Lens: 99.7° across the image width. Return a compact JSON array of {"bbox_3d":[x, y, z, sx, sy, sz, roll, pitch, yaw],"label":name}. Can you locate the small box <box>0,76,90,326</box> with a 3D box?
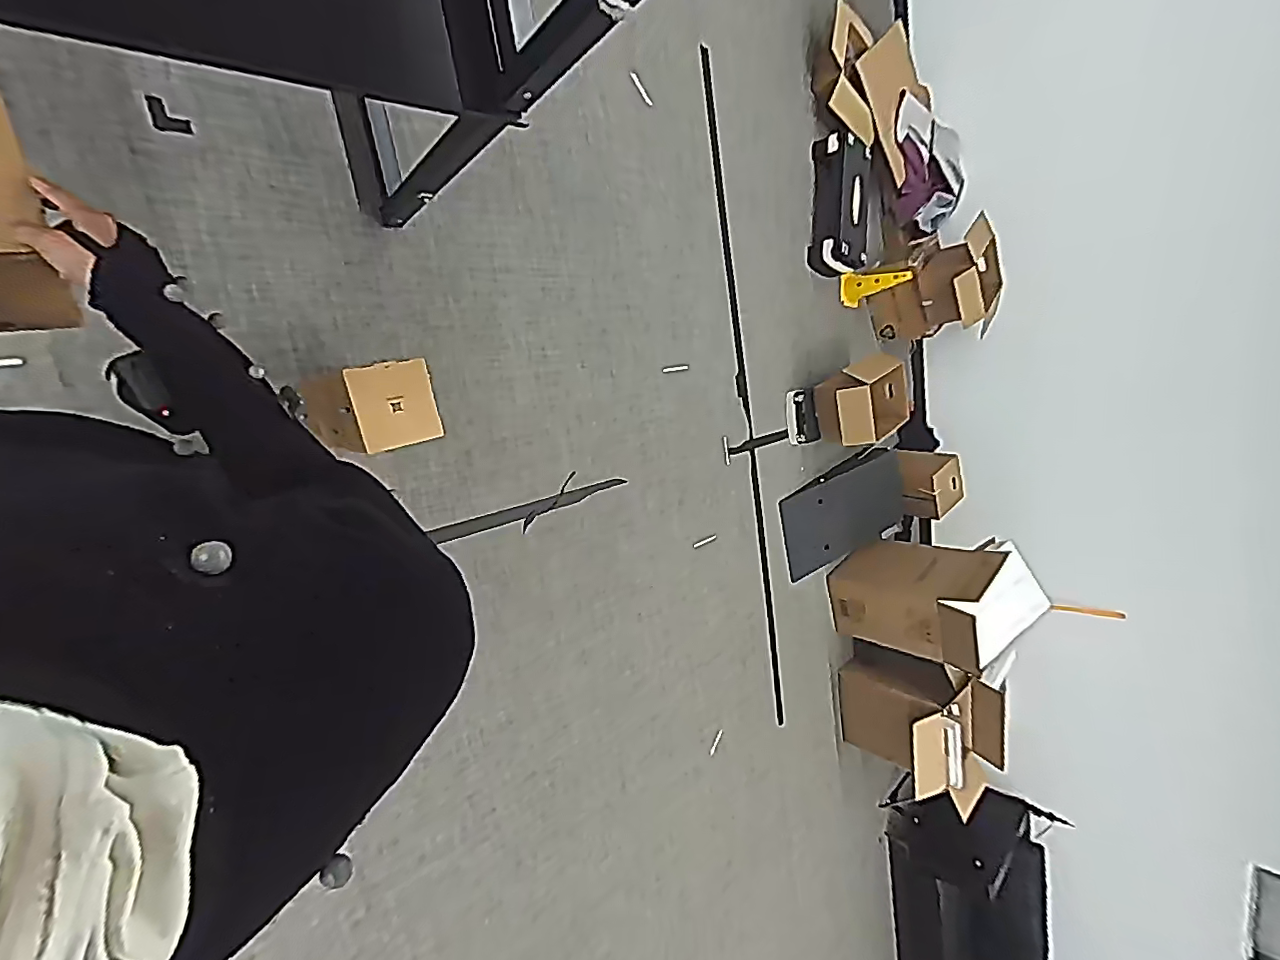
[{"bbox_3d":[-0.653,-0.249,0.497,0.168,0.176,0.179,-20,92,-40],"label":"small box"}]

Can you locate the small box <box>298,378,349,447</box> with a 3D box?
[{"bbox_3d":[-0.772,-0.187,1.425,0.179,0.176,0.168,-20,106,-38],"label":"small box"}]

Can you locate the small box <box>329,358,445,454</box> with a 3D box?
[{"bbox_3d":[-0.554,-0.163,1.182,0.168,0.176,0.179,-22,107,-38],"label":"small box"}]
